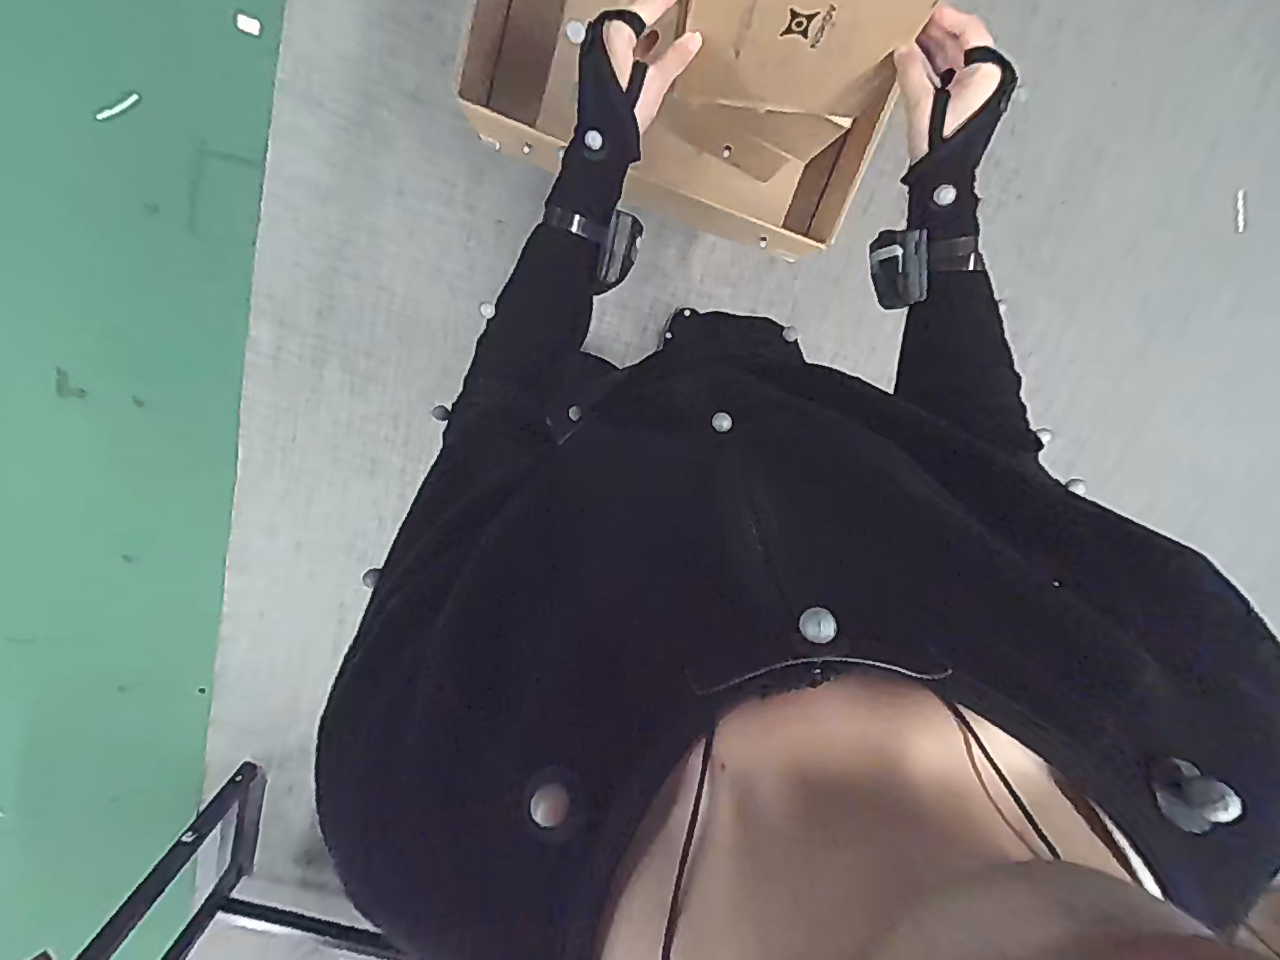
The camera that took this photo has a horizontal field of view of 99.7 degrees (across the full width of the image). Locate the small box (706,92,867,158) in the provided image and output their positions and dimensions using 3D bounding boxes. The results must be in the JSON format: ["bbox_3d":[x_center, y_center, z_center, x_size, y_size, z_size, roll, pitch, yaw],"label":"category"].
[{"bbox_3d":[0.195,-0.532,0.670,0.179,0.176,0.168,22,106,-7],"label":"small box"}]

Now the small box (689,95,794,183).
[{"bbox_3d":[0.183,-0.588,0.825,0.168,0.176,0.179,24,106,-7],"label":"small box"}]

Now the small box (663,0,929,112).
[{"bbox_3d":[0.118,-0.419,0.399,0.179,0.168,0.176,3,84,-7],"label":"small box"}]
